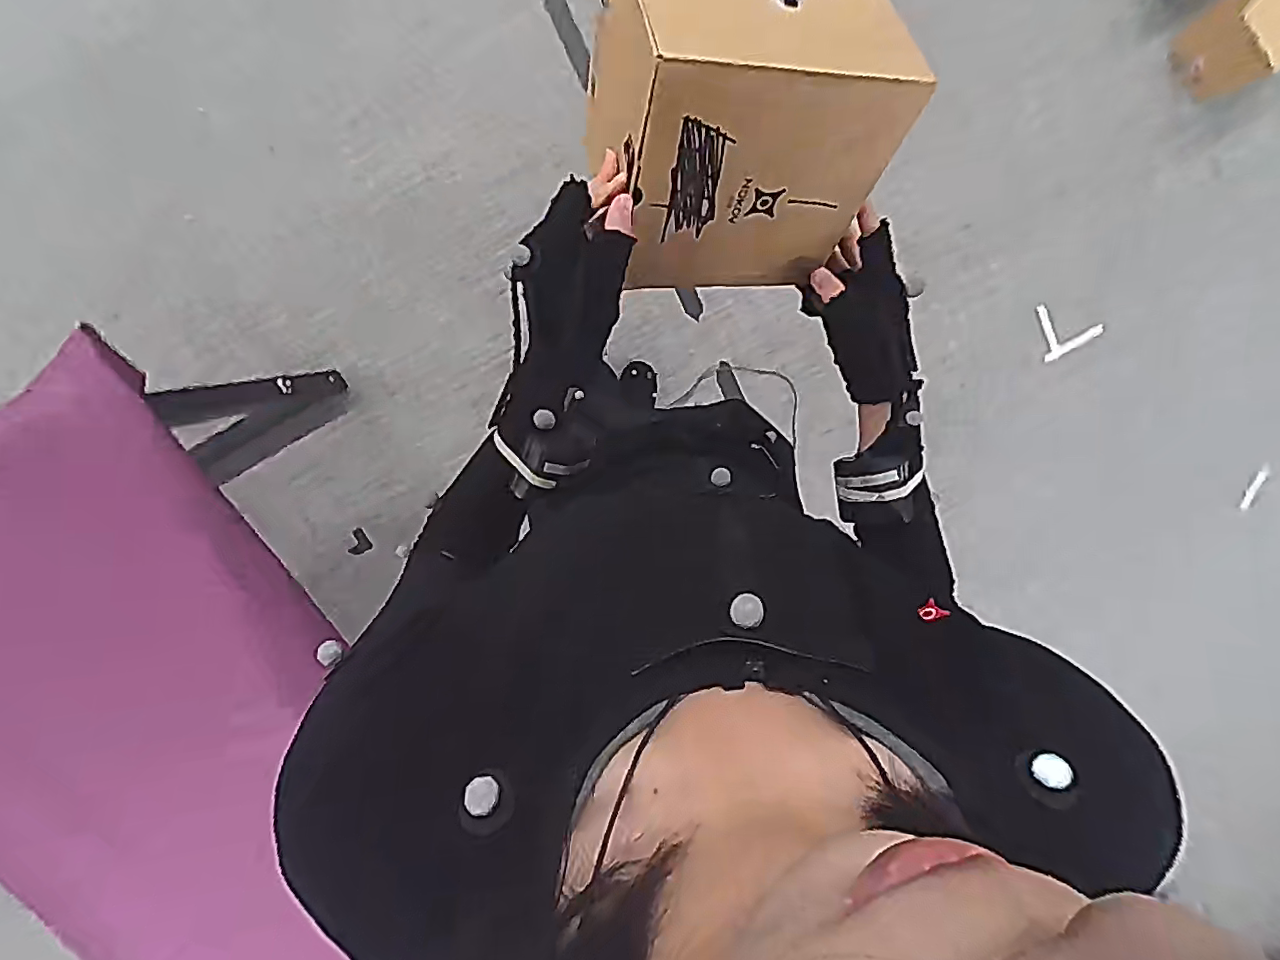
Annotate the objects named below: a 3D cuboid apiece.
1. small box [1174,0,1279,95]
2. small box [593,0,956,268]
[{"bbox_3d":[1.428,-1.059,1.257,0.168,0.176,0.179,42,99,-11],"label":"small box"},{"bbox_3d":[0.067,-0.278,0.386,0.179,0.168,0.176,-6,68,-14],"label":"small box"}]
